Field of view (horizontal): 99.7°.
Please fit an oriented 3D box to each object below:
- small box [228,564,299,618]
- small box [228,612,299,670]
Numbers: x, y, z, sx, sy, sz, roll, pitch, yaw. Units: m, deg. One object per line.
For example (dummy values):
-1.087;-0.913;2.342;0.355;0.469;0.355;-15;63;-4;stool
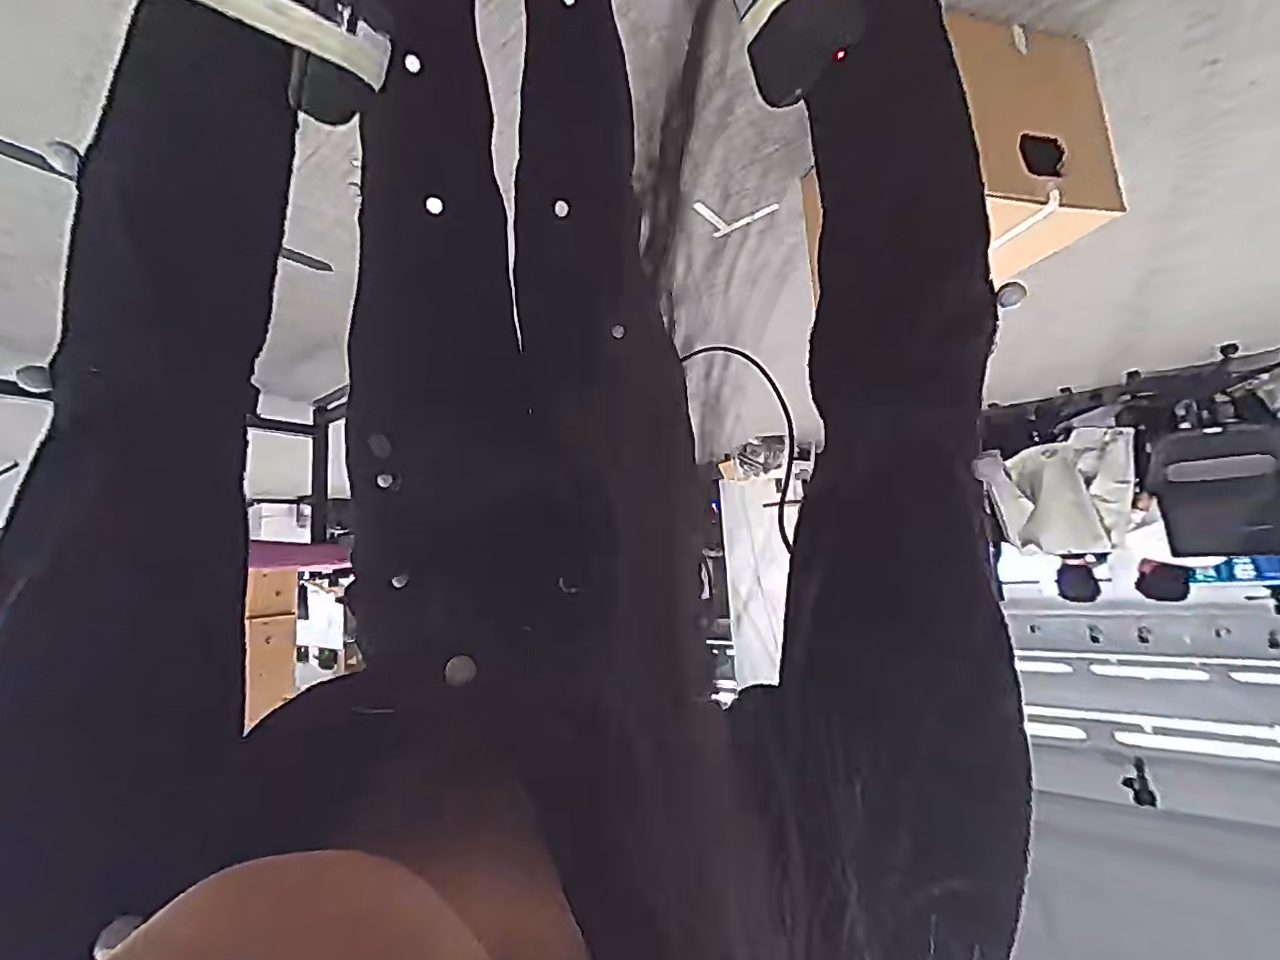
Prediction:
-1.326;0.387;1.901;0.179;0.176;0.168;-9;171;36;small box
-1.299;0.546;1.864;0.179;0.176;0.168;-11;169;40;small box
